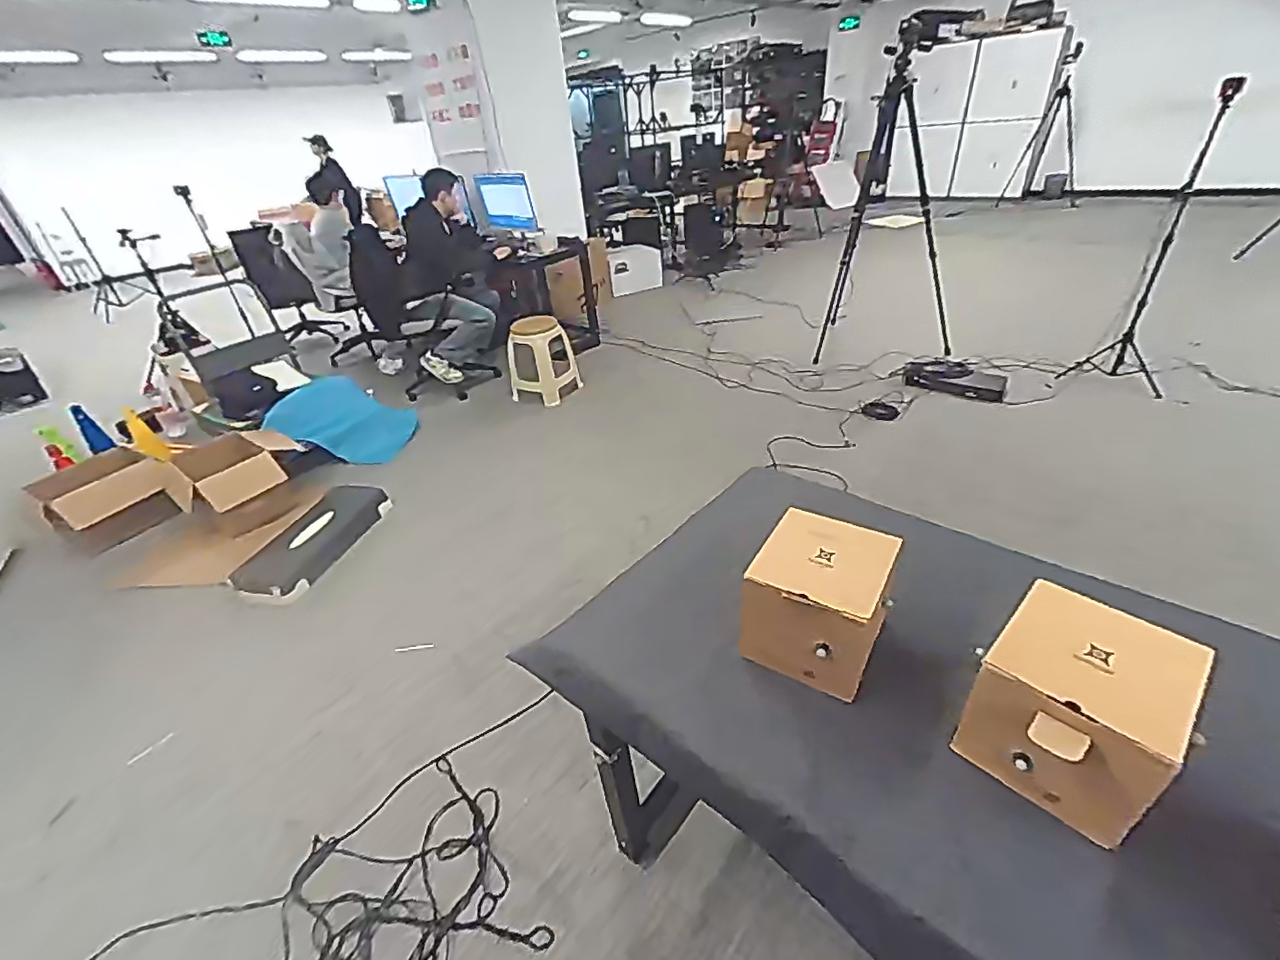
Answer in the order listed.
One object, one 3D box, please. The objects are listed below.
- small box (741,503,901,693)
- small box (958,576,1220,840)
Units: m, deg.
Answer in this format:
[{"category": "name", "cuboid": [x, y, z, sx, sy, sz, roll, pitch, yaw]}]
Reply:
[{"category": "small box", "cuboid": [0.254, 0.165, 0.774, 0.168, 0.176, 0.179, 18, 39, 29]}, {"category": "small box", "cuboid": [0.491, 0.249, 0.611, 0.179, 0.176, 0.168, -31, 41, -32]}]
